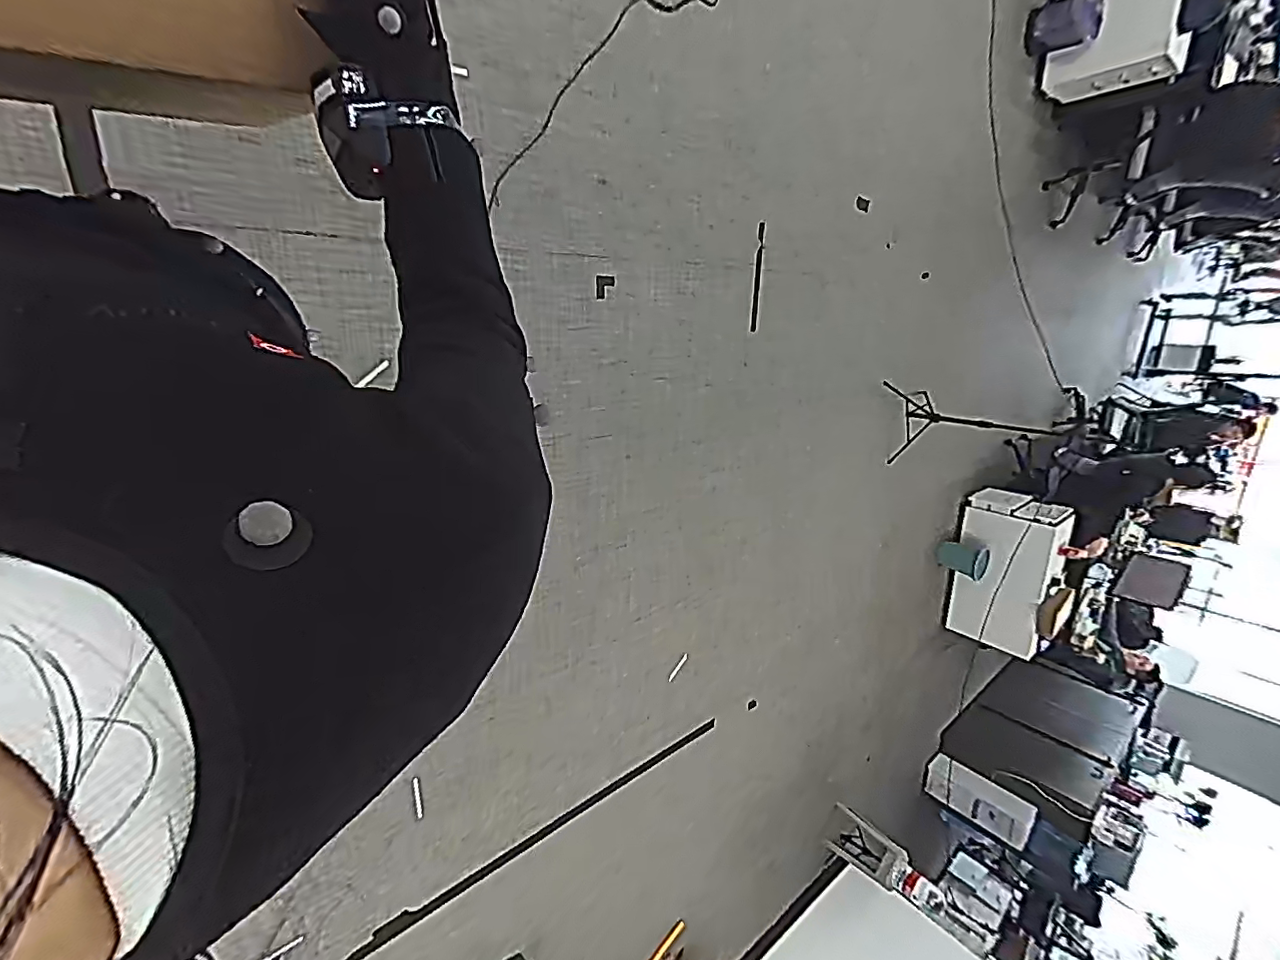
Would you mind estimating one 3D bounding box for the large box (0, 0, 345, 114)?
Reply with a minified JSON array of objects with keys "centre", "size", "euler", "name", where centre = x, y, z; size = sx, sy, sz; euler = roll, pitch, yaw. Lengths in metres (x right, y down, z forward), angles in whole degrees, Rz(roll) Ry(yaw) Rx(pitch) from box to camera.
[{"centre":[-0.449,-0.415,0.294],"size":[0.408,0.320,0.320],"euler":[-20,126,-37],"name":"large box"}]
